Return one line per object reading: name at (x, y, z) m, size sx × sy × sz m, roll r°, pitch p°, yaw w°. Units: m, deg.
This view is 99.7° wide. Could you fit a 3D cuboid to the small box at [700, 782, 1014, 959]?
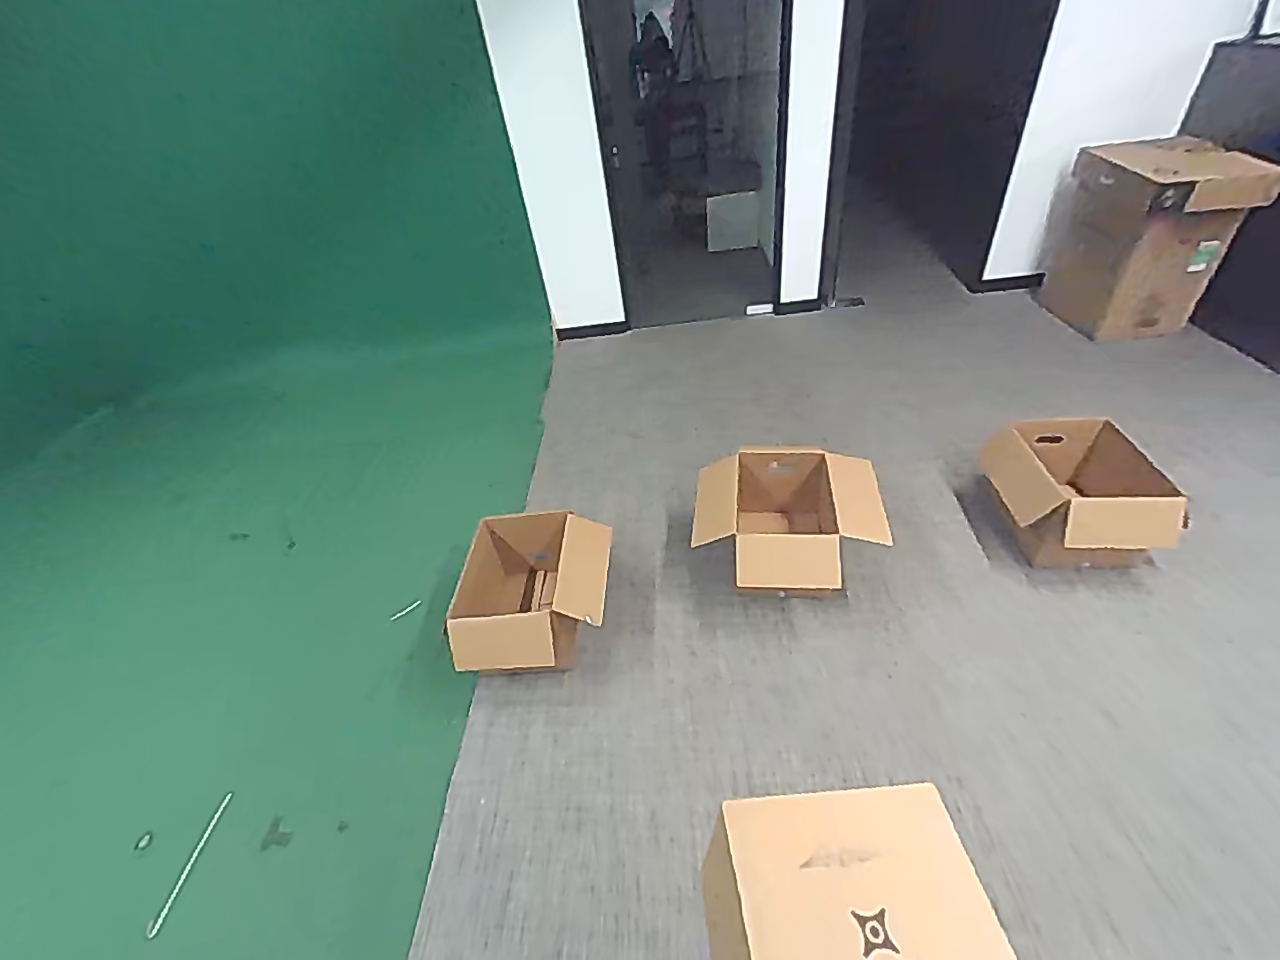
small box at (0.143, 0.346, 0.384) m, size 0.168 × 0.176 × 0.179 m, roll -2°, pitch 39°, yaw -6°
